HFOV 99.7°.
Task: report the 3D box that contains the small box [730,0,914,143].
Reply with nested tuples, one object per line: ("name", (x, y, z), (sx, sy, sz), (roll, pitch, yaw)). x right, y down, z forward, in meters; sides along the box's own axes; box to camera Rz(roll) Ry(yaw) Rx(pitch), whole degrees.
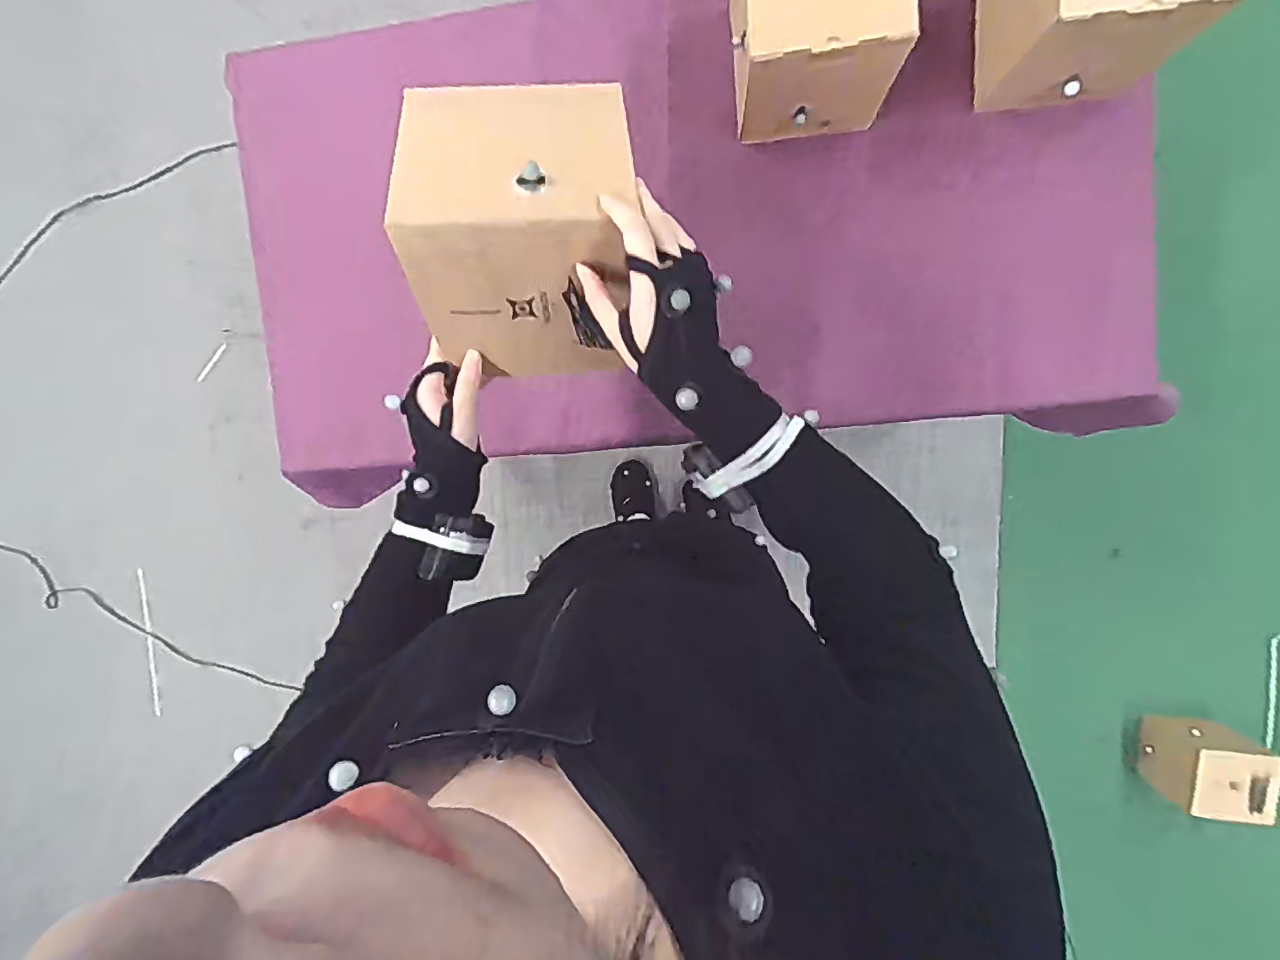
("small box", (0.194, -0.526, 0.618), (0.168, 0.176, 0.179), (-4, 96, 7))

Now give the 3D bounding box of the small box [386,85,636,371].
("small box", (-0.100, -0.218, 0.479), (0.179, 0.168, 0.176), (-4, 62, -4))

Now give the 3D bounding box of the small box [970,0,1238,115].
("small box", (0.480, -0.535, 0.579), (0.168, 0.176, 0.179), (-1, 97, 7))
